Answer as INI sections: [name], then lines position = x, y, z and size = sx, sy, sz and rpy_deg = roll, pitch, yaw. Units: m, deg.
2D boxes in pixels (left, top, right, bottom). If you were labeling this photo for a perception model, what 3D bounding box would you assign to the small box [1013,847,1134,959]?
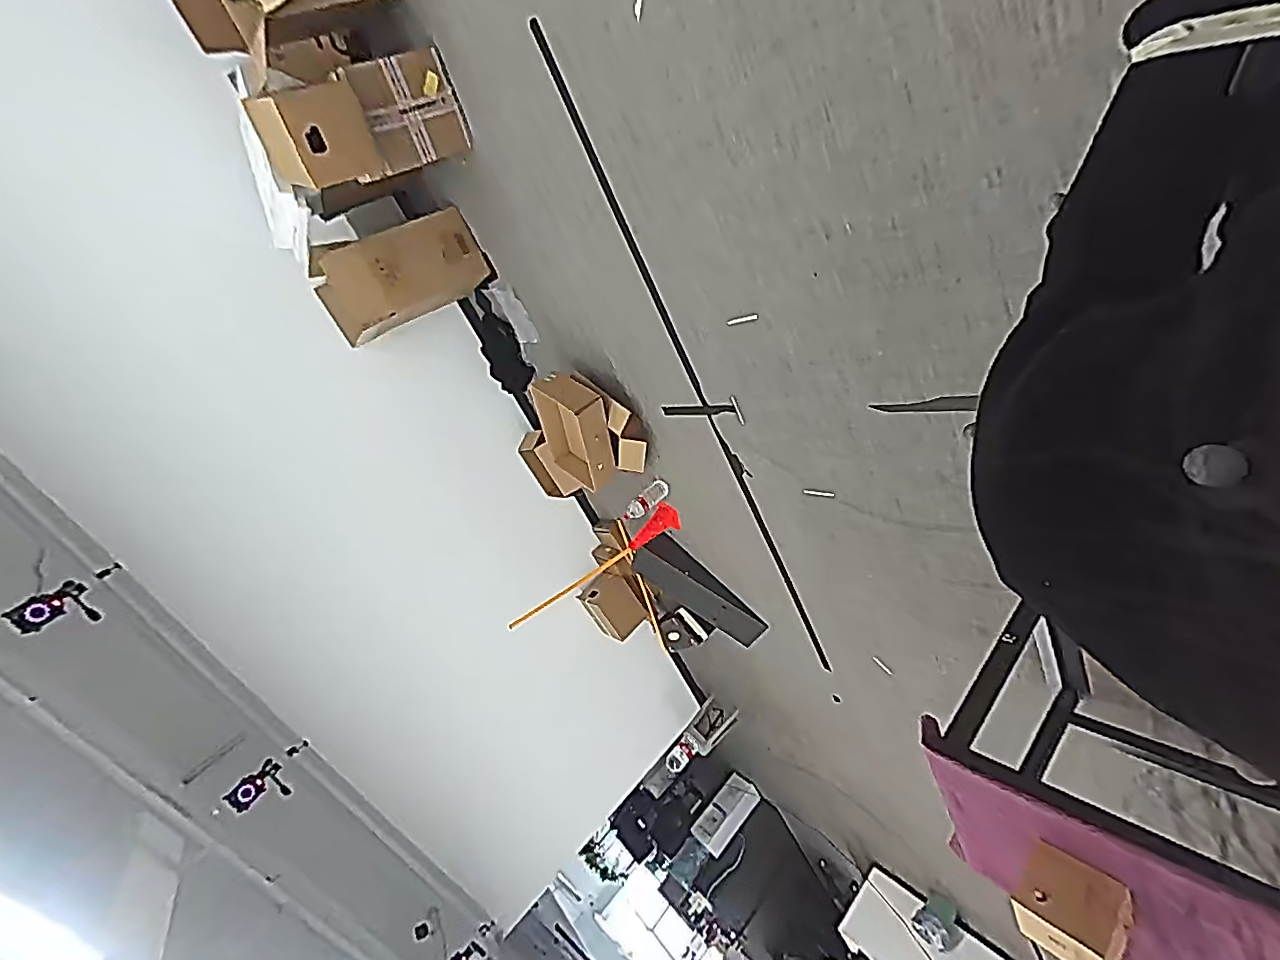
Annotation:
[small box]
position = 1.005, 0.998, 1.253
size = 0.179, 0.176, 0.168
rpy_deg = 9, 134, 53
